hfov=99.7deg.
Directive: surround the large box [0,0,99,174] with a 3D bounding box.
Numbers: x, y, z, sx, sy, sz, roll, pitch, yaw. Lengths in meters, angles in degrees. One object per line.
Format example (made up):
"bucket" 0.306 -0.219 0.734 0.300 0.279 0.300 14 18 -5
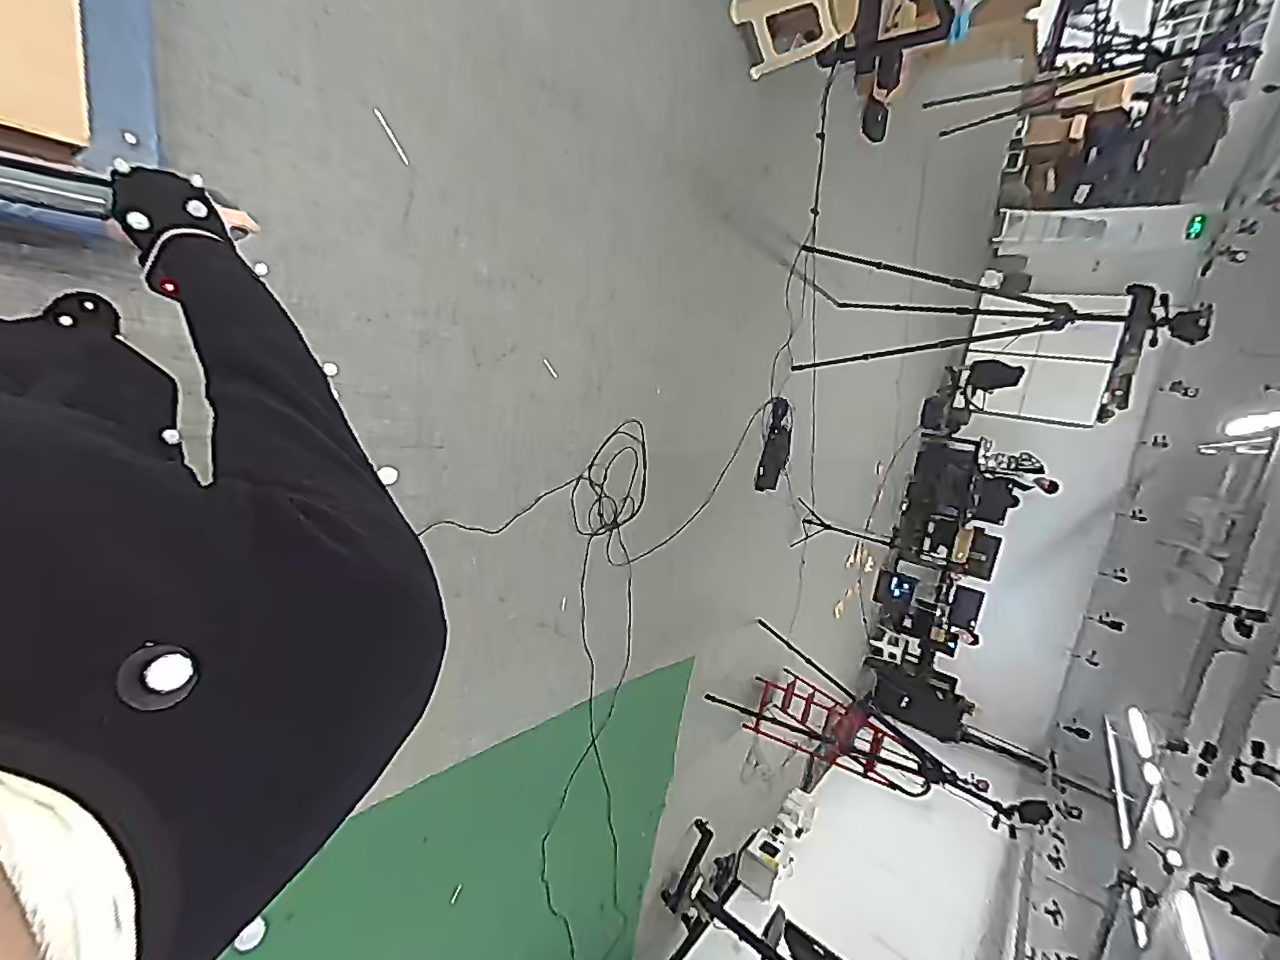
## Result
"large box" -0.972 -0.683 0.712 0.320 0.320 0.408 -9 109 -50
